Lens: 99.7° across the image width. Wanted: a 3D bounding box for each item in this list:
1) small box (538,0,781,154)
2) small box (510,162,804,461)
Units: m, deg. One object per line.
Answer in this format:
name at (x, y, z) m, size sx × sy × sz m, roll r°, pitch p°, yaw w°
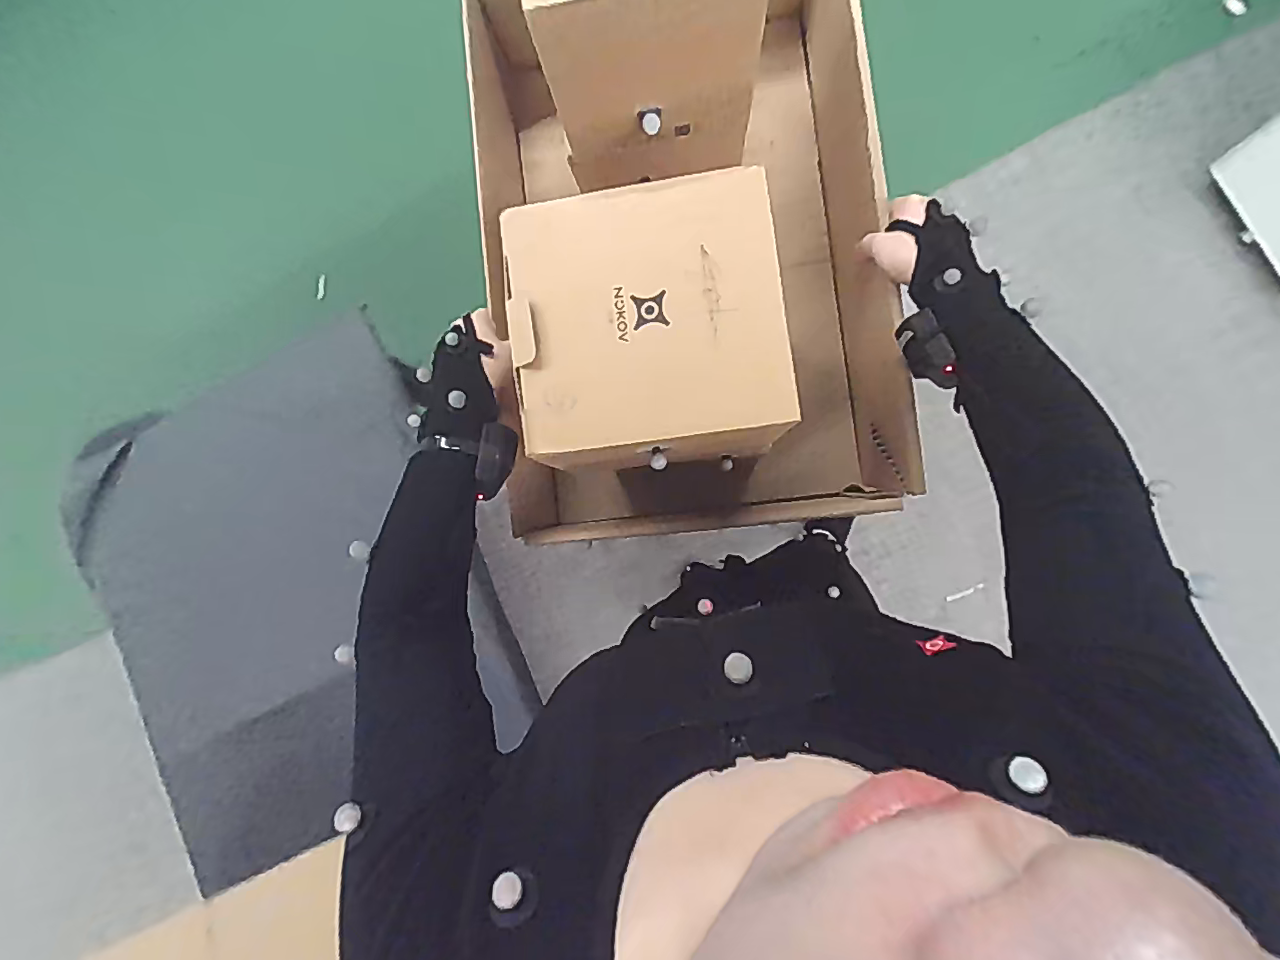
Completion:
small box at (0.011, -0.402, 0.430) m, size 0.168 × 0.176 × 0.179 m, roll -6°, pitch 90°, yaw 5°
small box at (0.016, -0.109, 0.426) m, size 0.179 × 0.176 × 0.168 m, roll -8°, pitch 89°, yaw 5°
